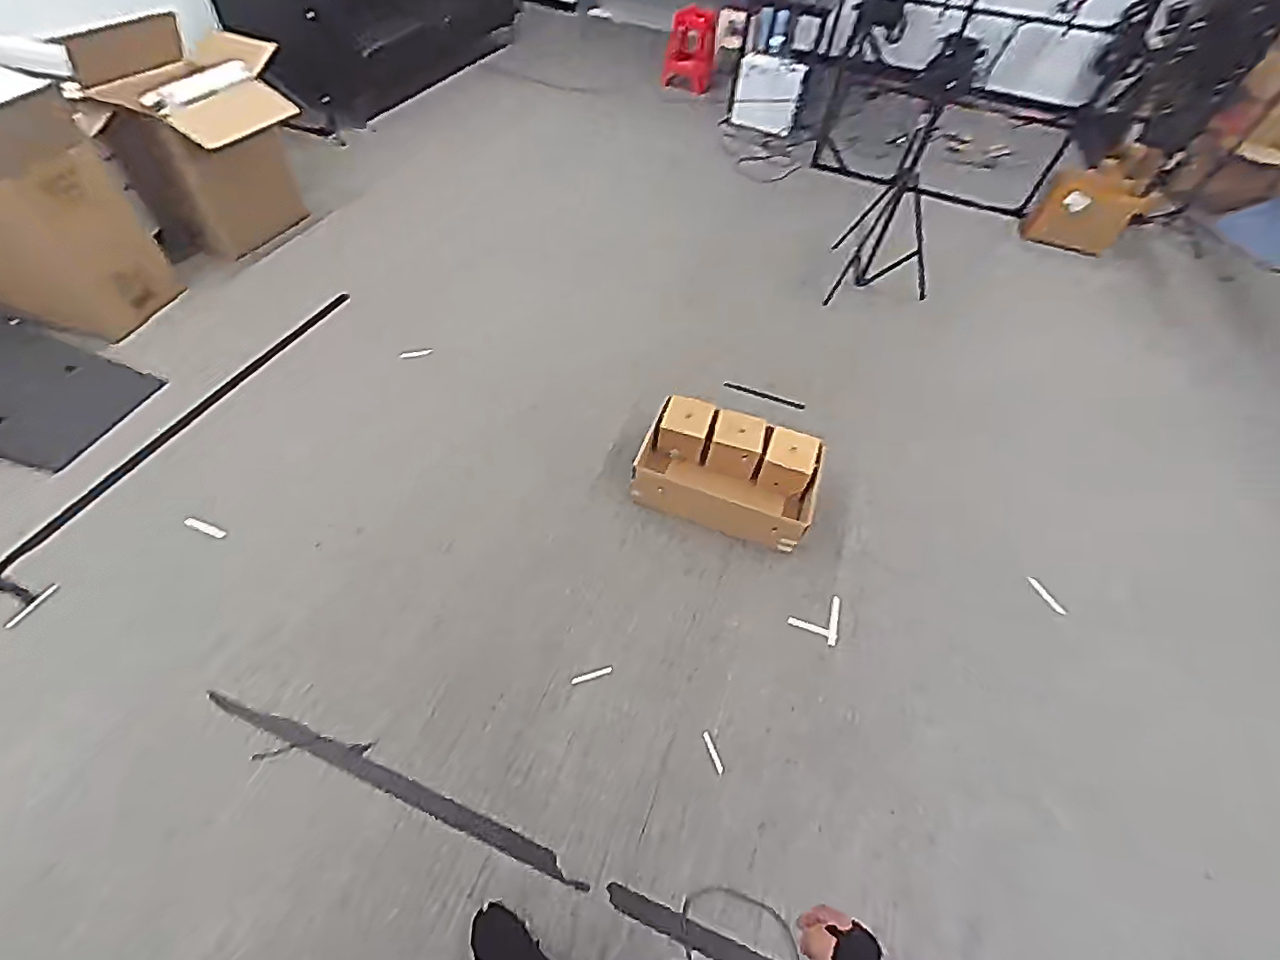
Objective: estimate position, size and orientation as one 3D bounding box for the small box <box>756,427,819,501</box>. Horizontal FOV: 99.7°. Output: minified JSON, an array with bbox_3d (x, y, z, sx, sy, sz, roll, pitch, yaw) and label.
[{"bbox_3d":[0.531,-0.057,1.967,0.168,0.176,0.179,18,56,10],"label":"small box"}]
